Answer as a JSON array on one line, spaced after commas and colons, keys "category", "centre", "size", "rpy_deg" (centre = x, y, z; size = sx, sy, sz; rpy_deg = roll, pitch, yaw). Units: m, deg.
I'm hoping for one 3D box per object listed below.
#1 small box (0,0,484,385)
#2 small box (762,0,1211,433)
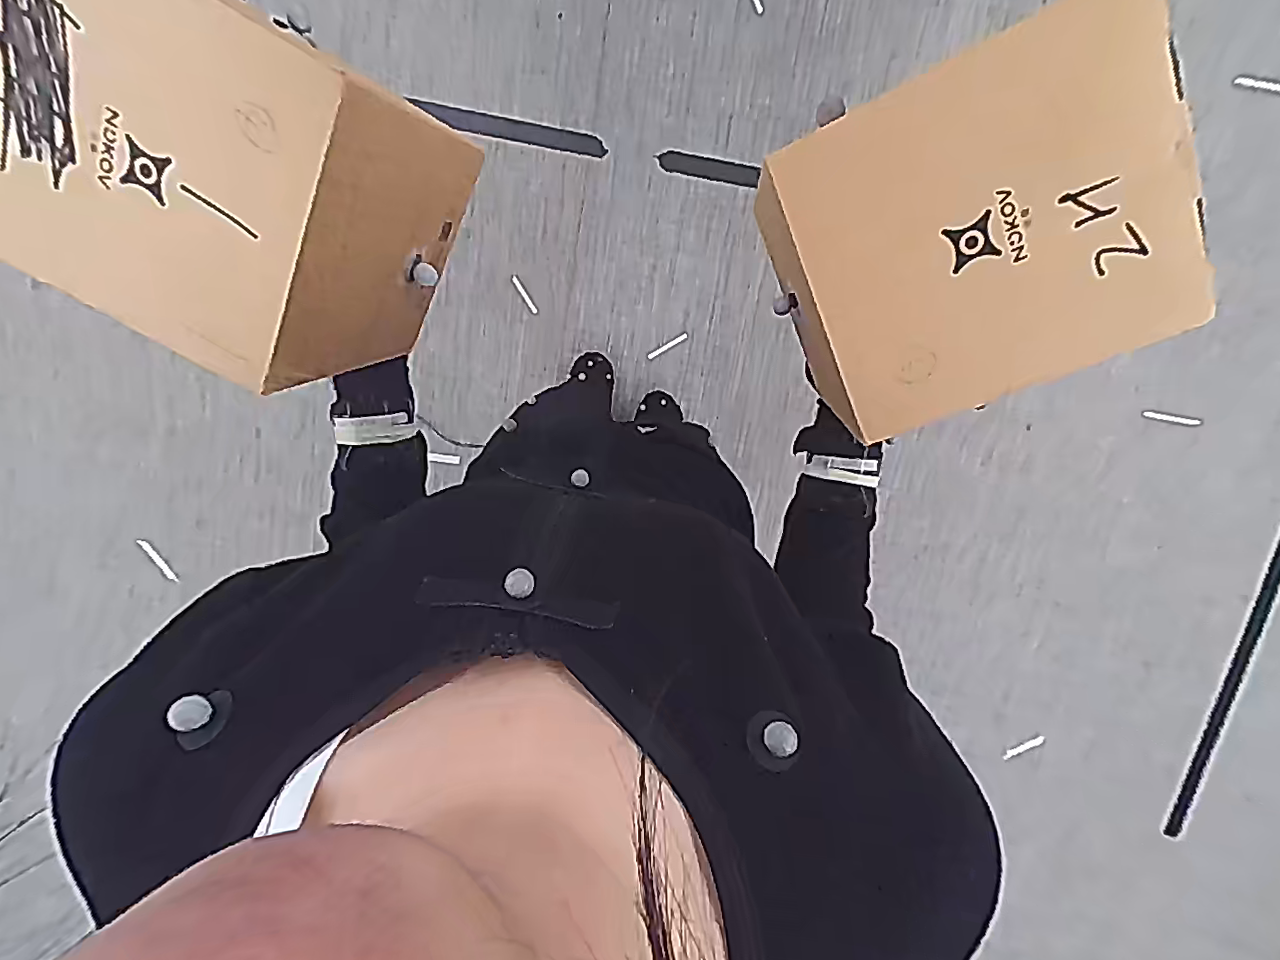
[{"category": "small box", "centre": [-0.227, -0.183, 0.330], "size": [0.179, 0.176, 0.168], "rpy_deg": [29, 112, -6]}, {"category": "small box", "centre": [0.186, -0.150, 0.347], "size": [0.179, 0.176, 0.168], "rpy_deg": [-21, 105, 15]}]
